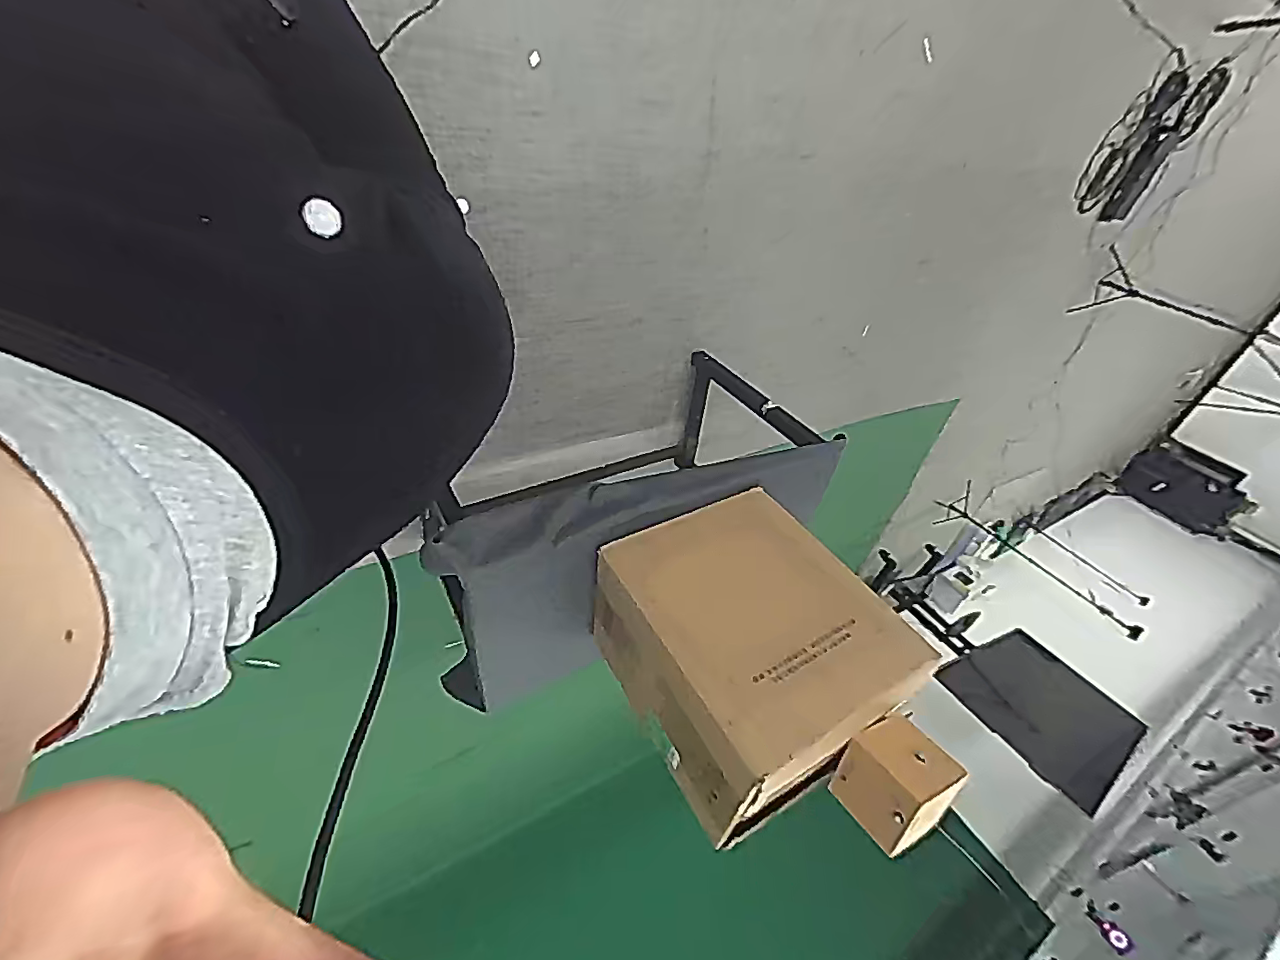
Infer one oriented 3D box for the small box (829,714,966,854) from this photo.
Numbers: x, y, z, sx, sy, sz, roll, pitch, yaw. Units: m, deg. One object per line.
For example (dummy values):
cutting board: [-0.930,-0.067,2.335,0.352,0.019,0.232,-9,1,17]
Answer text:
small box: [0.542,0.635,1.154,0.179,0.176,0.168,-5,119,-33]
